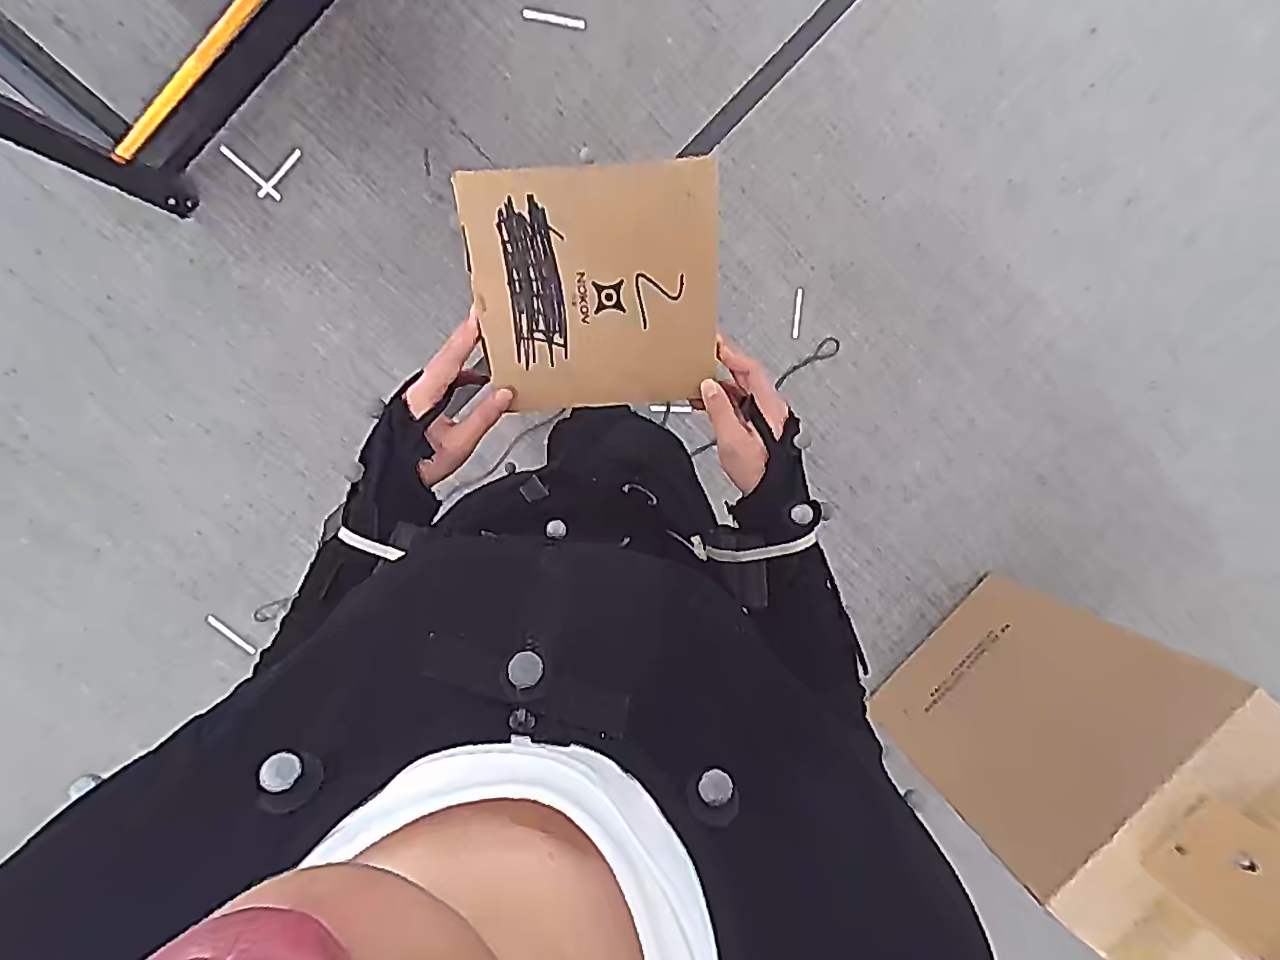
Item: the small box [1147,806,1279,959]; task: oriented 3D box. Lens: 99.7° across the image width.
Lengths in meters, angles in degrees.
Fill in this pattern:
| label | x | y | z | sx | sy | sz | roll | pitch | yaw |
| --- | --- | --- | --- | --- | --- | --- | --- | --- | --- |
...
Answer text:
| label | x | y | z | sx | sy | sz | roll | pitch | yaw |
| --- | --- | --- | --- | --- | --- | --- | --- | --- | --- |
| small box | 0.973 | 0.660 | 0.851 | 0.179 | 0.176 | 0.168 | 44 | 91 | -11 |
